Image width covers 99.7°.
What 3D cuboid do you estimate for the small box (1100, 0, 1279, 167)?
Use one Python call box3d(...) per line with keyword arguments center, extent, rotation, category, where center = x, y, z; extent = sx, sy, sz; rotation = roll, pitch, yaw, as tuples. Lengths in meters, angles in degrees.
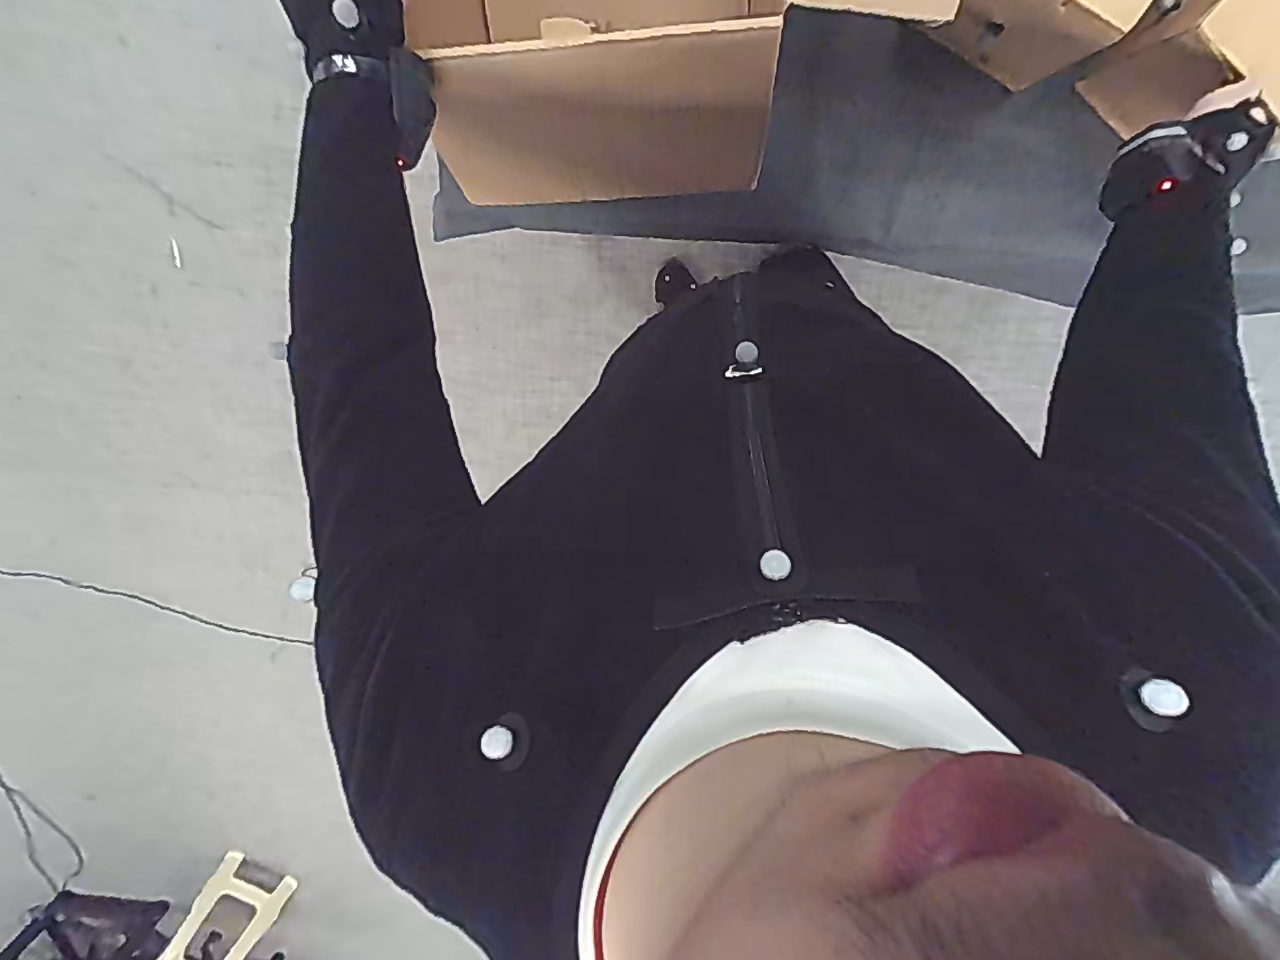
box3d(center=(0.607, -0.440, 0.523), extent=(0.168, 0.176, 0.179), rotation=(35, 111, -9), category="small box")
